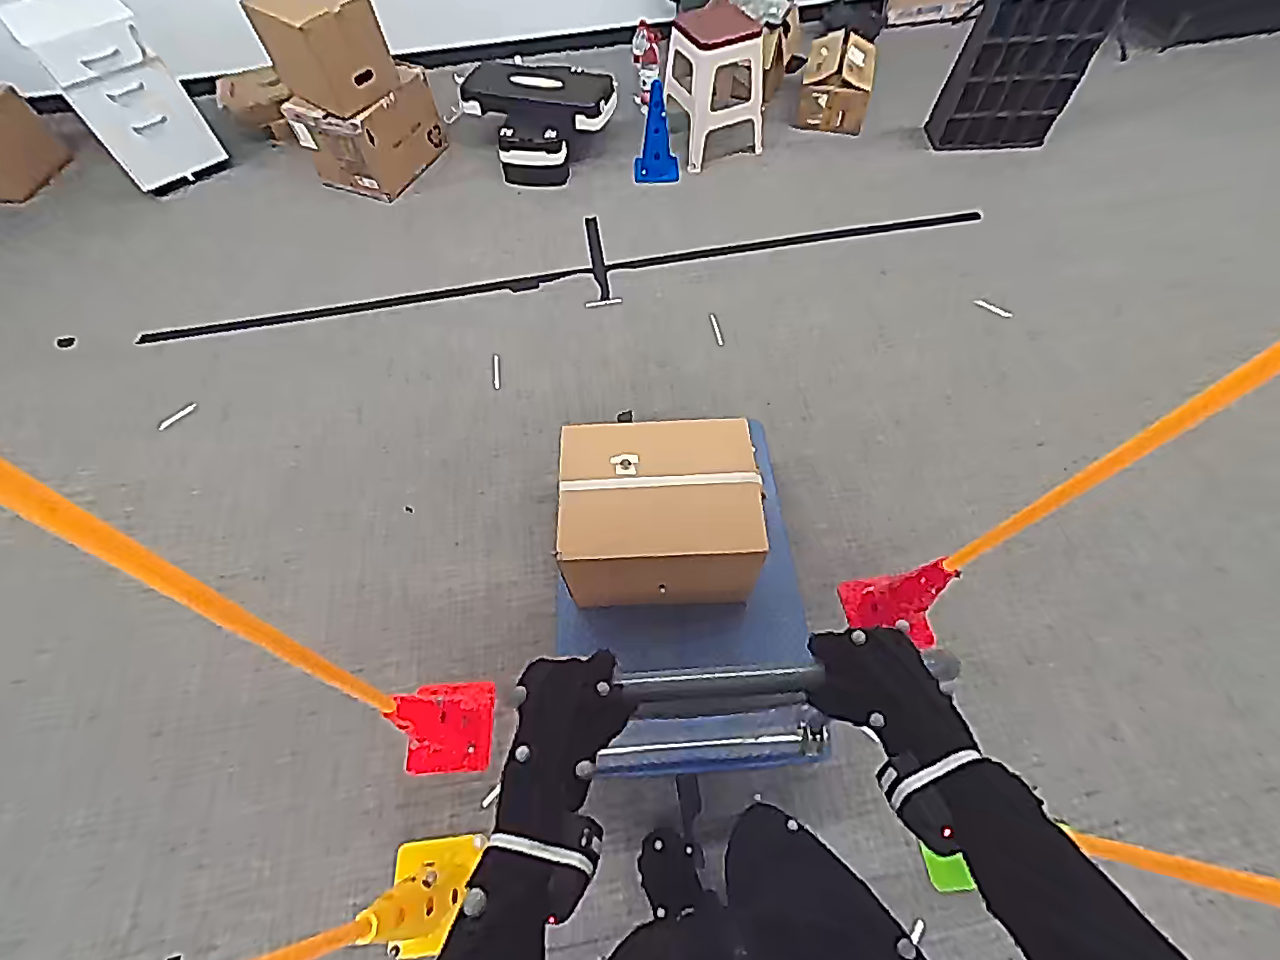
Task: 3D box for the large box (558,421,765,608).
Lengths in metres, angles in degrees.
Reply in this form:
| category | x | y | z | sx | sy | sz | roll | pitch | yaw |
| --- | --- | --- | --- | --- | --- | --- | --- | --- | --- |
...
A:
| category | x | y | z | sx | sy | sz | roll | pitch | yaw |
| --- | --- | --- | --- | --- | --- | --- | --- | --- | --- |
| large box | 0.042 | 0.092 | 1.232 | 0.408 | 0.320 | 0.320 | -4 | 60 | 1 |

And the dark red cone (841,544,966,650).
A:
| category | x | y | z | sx | sy | sz | roll | pitch | yaw |
| --- | --- | --- | --- | --- | --- | --- | --- | --- | --- |
| dark red cone | 0.641 | 0.249 | 1.258 | 0.201 | 0.394 | 0.202 | -8 | 60 | -4 |

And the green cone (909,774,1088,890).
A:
| category | x | y | z | sx | sy | sz | roll | pitch | yaw |
| --- | --- | --- | --- | --- | --- | --- | --- | --- | --- |
| green cone | 0.703 | 0.671 | 1.026 | 0.202 | 0.368 | 0.200 | -5 | 59 | -2 |

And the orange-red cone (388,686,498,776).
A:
| category | x | y | z | sx | sy | sz | roll | pitch | yaw |
| --- | --- | --- | --- | --- | --- | --- | --- | --- | --- |
| orange-red cone | -0.457 | 0.520 | 1.173 | 0.198 | 0.360 | 0.199 | -3 | 58 | 0 |
